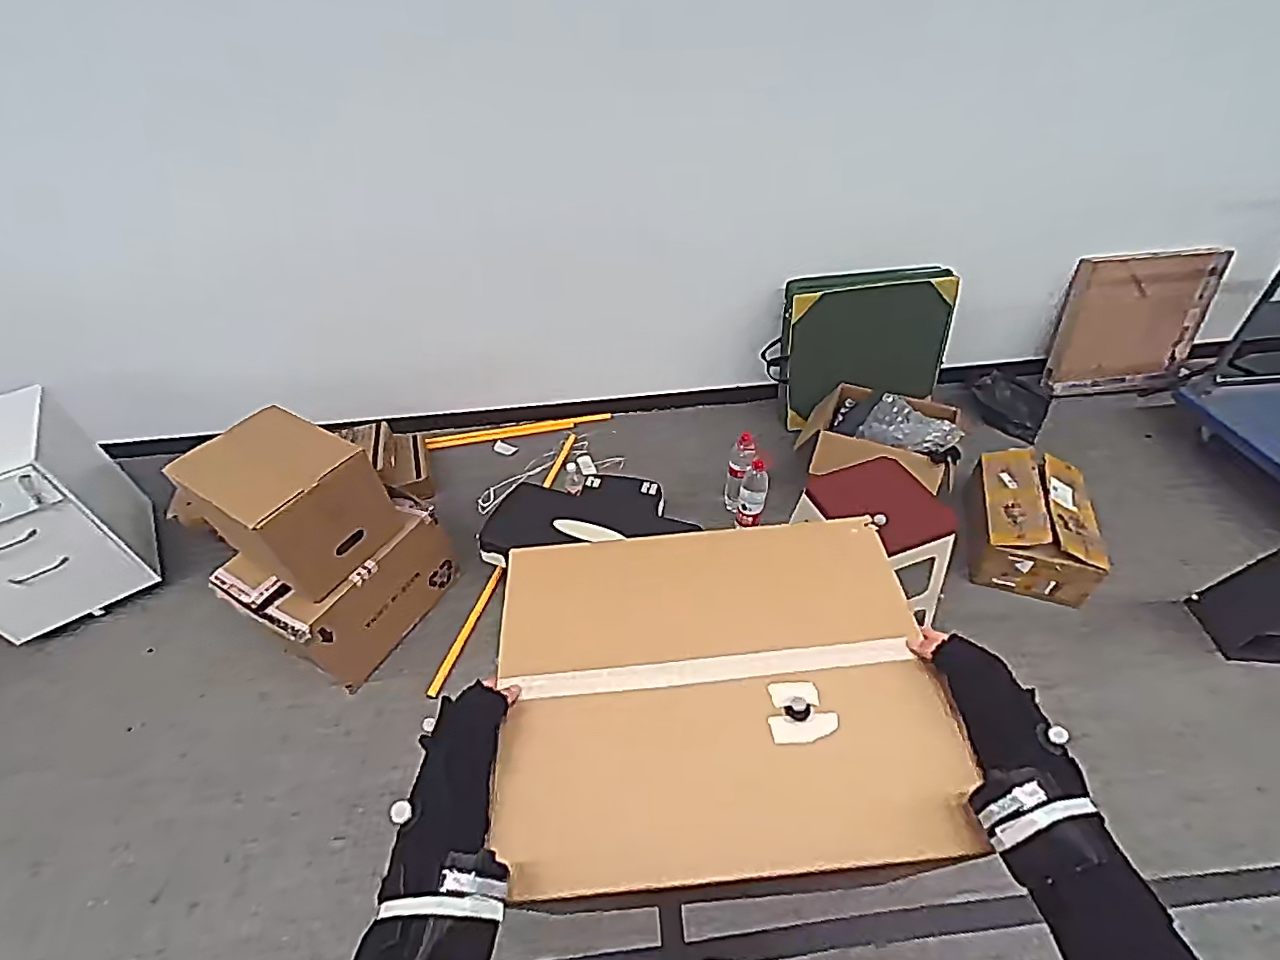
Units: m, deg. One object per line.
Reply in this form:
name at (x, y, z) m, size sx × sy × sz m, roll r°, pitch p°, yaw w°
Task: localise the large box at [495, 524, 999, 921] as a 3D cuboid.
large box at (0.076, 0.281, 0.622) m, size 0.408 × 0.320 × 0.320 m, roll -5°, pitch 50°, yaw -1°
